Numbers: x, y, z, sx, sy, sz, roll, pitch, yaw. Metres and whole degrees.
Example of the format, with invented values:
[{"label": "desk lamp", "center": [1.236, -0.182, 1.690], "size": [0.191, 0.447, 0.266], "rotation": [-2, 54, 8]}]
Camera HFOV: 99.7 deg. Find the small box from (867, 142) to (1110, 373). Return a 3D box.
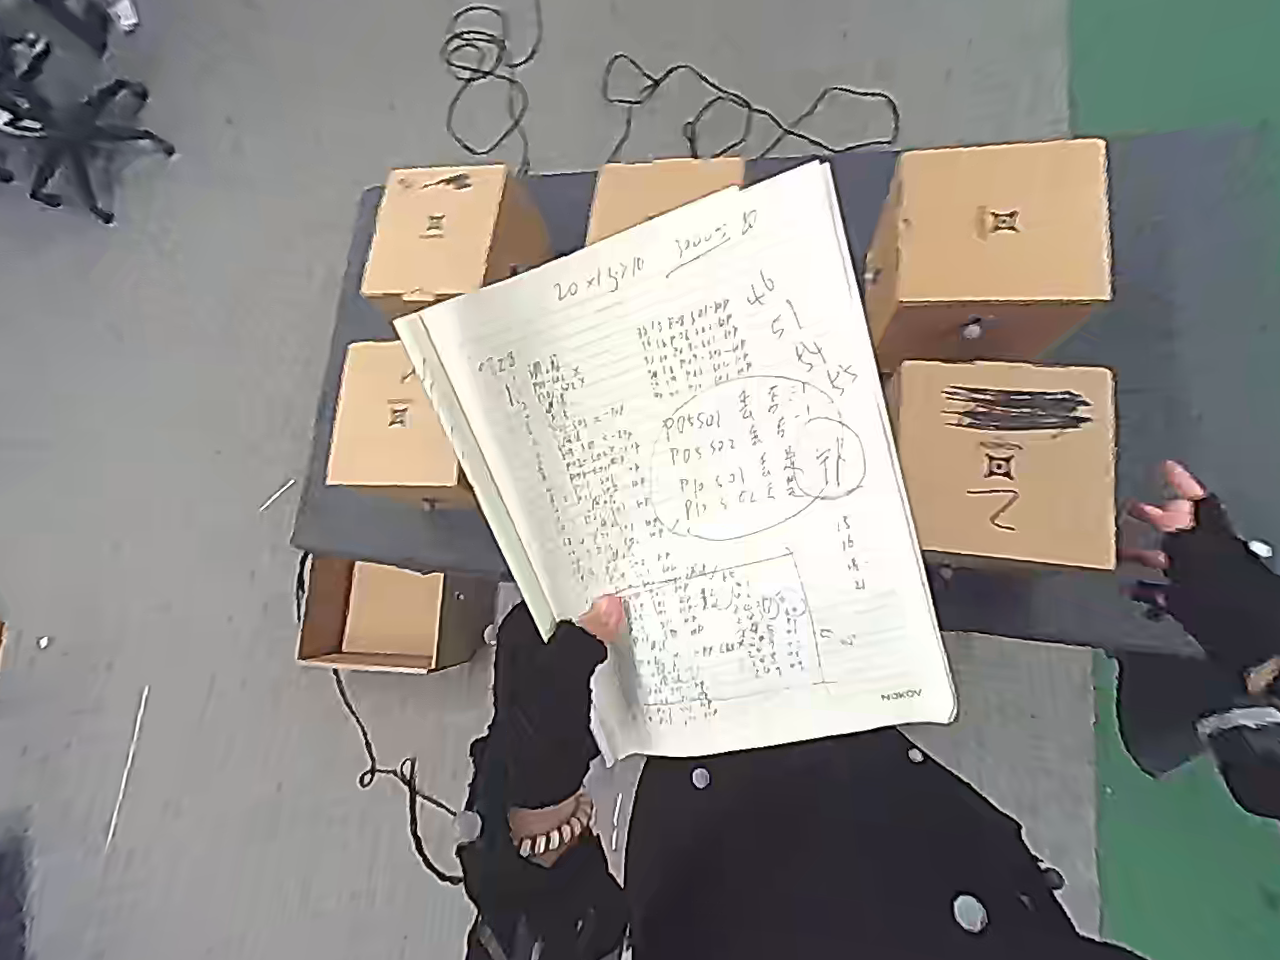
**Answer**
[{"label": "small box", "center": [0.356, -0.224, 0.583], "size": [0.179, 0.176, 0.168], "rotation": [4, 79, 15]}]
